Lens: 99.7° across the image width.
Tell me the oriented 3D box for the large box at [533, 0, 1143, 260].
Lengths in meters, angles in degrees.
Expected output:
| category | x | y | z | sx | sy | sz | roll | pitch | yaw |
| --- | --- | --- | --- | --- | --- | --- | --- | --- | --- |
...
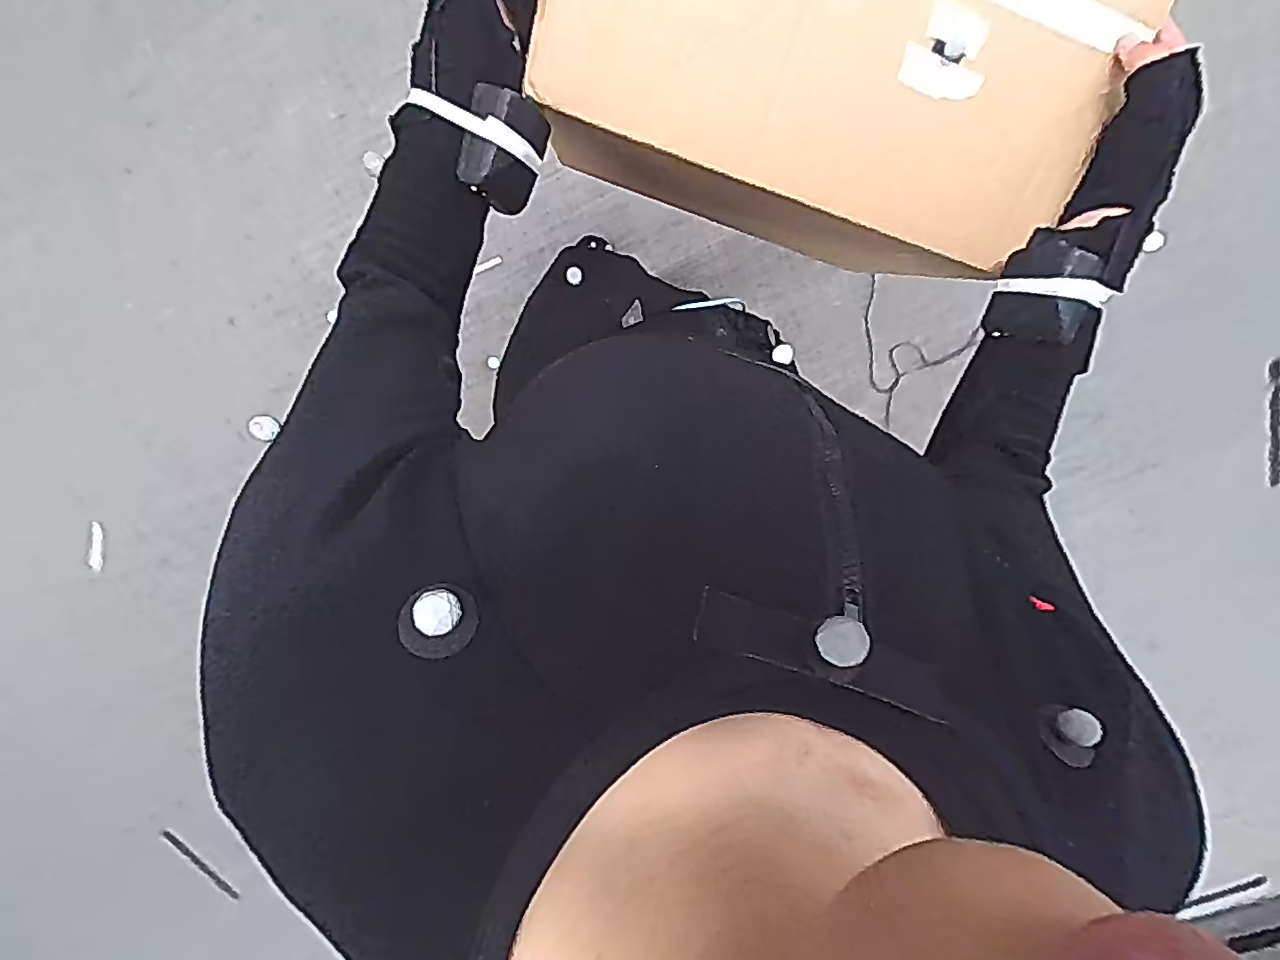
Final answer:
| category | x | y | z | sx | sy | sz | roll | pitch | yaw |
| --- | --- | --- | --- | --- | --- | --- | --- | --- | --- |
| large box | 0.141 | -0.415 | 0.490 | 0.408 | 0.320 | 0.320 | 14 | 112 | -10 |
